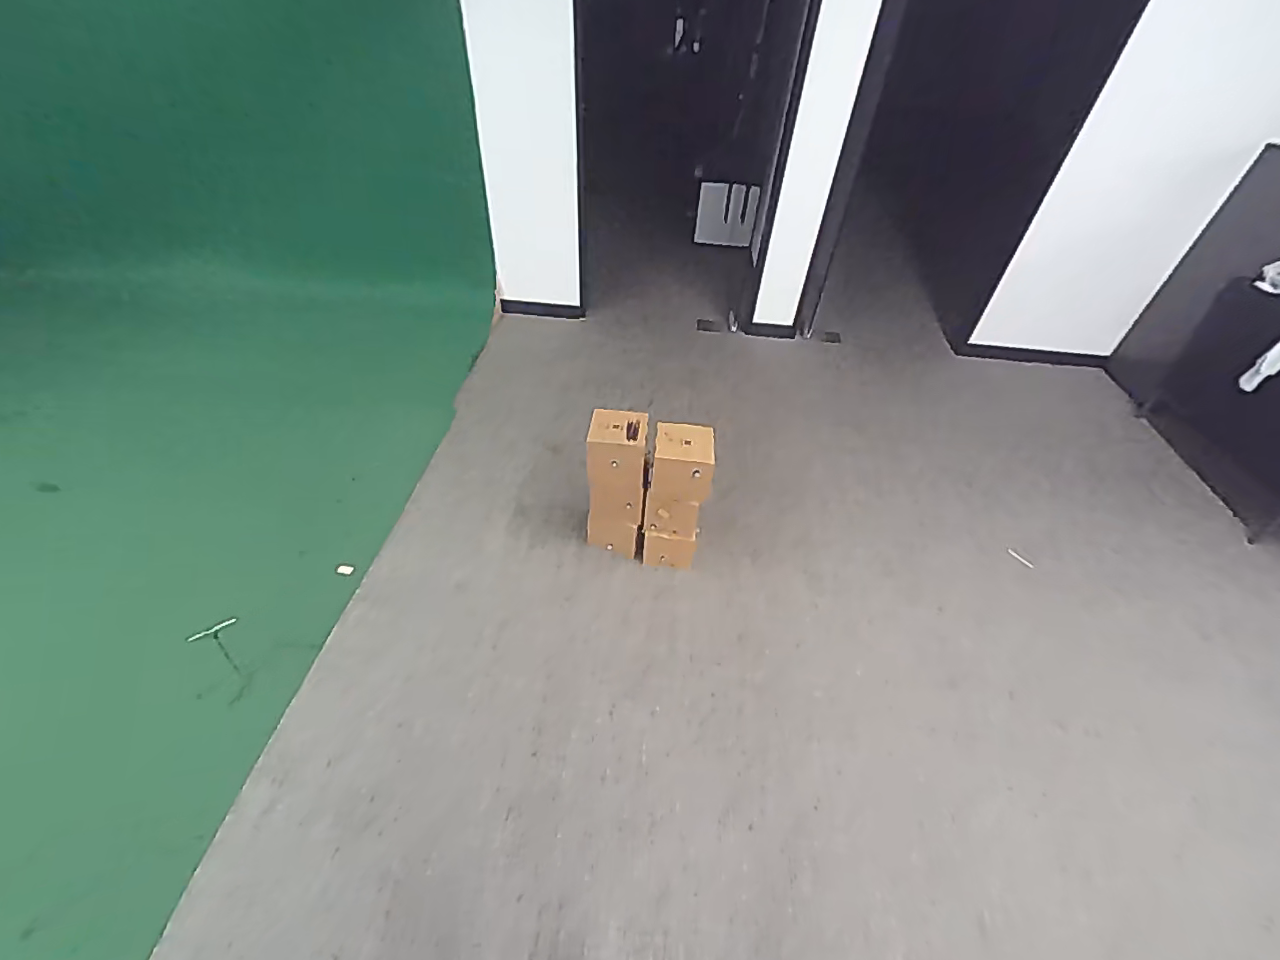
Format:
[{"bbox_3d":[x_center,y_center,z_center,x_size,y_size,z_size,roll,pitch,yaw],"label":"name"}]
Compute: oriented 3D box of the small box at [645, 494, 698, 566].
[{"bbox_3d":[0.107,0.174,1.877,0.168,0.176,0.179,6,46,2],"label":"small box"}]
